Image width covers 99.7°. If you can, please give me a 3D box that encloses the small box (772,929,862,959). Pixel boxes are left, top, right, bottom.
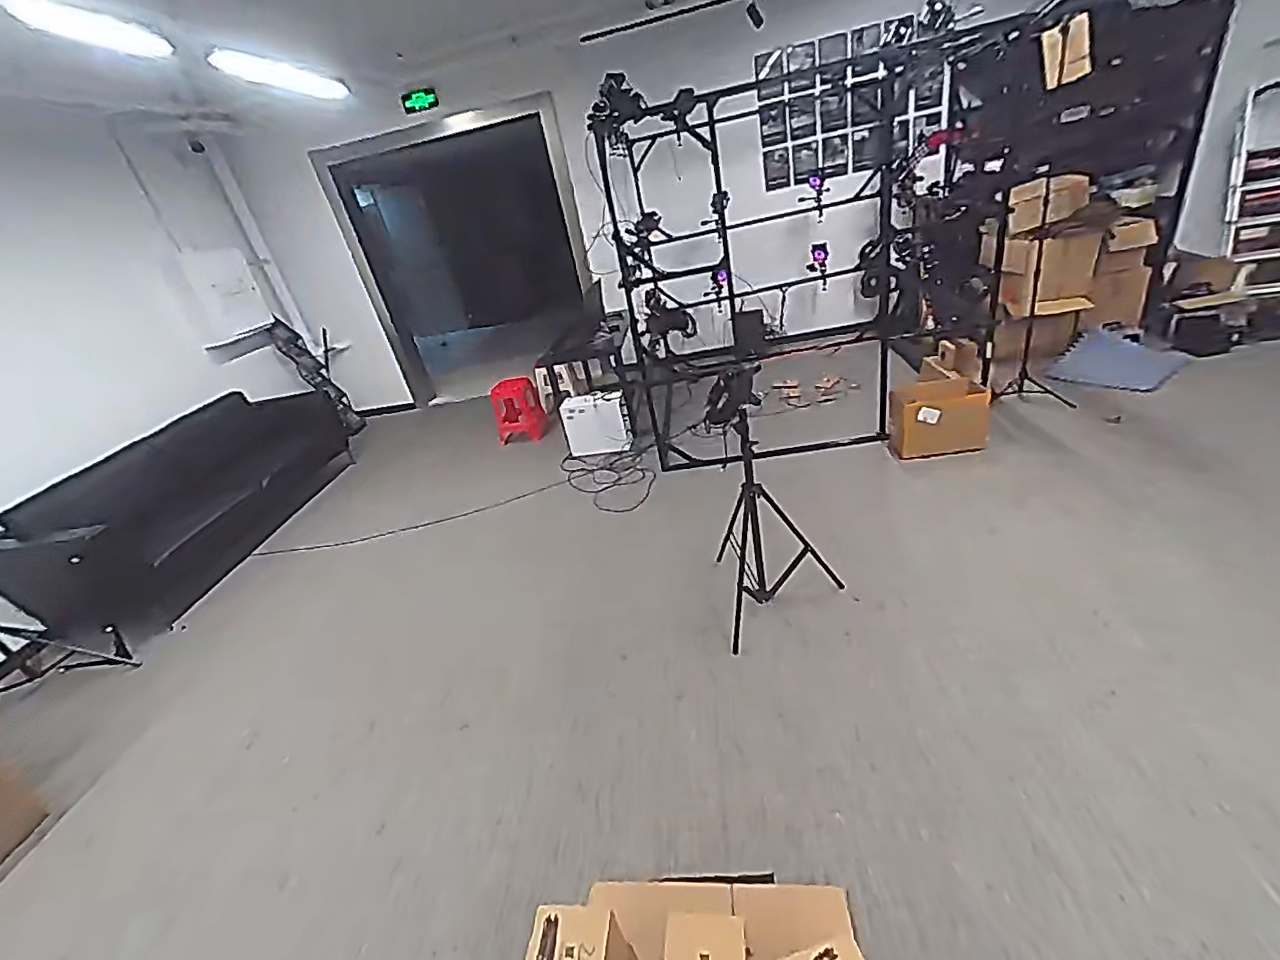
[{"bbox_3d":[0.372,1.025,1.039,0.168,0.176,0.179,-16,29,-5],"label":"small box"}]

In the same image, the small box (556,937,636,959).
[{"bbox_3d":[-0.099,1.200,1.253,0.179,0.176,0.168,-8,28,11],"label":"small box"}]

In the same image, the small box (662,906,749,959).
[{"bbox_3d":[0.139,1.030,1.120,0.168,0.176,0.179,-6,30,12],"label":"small box"}]
